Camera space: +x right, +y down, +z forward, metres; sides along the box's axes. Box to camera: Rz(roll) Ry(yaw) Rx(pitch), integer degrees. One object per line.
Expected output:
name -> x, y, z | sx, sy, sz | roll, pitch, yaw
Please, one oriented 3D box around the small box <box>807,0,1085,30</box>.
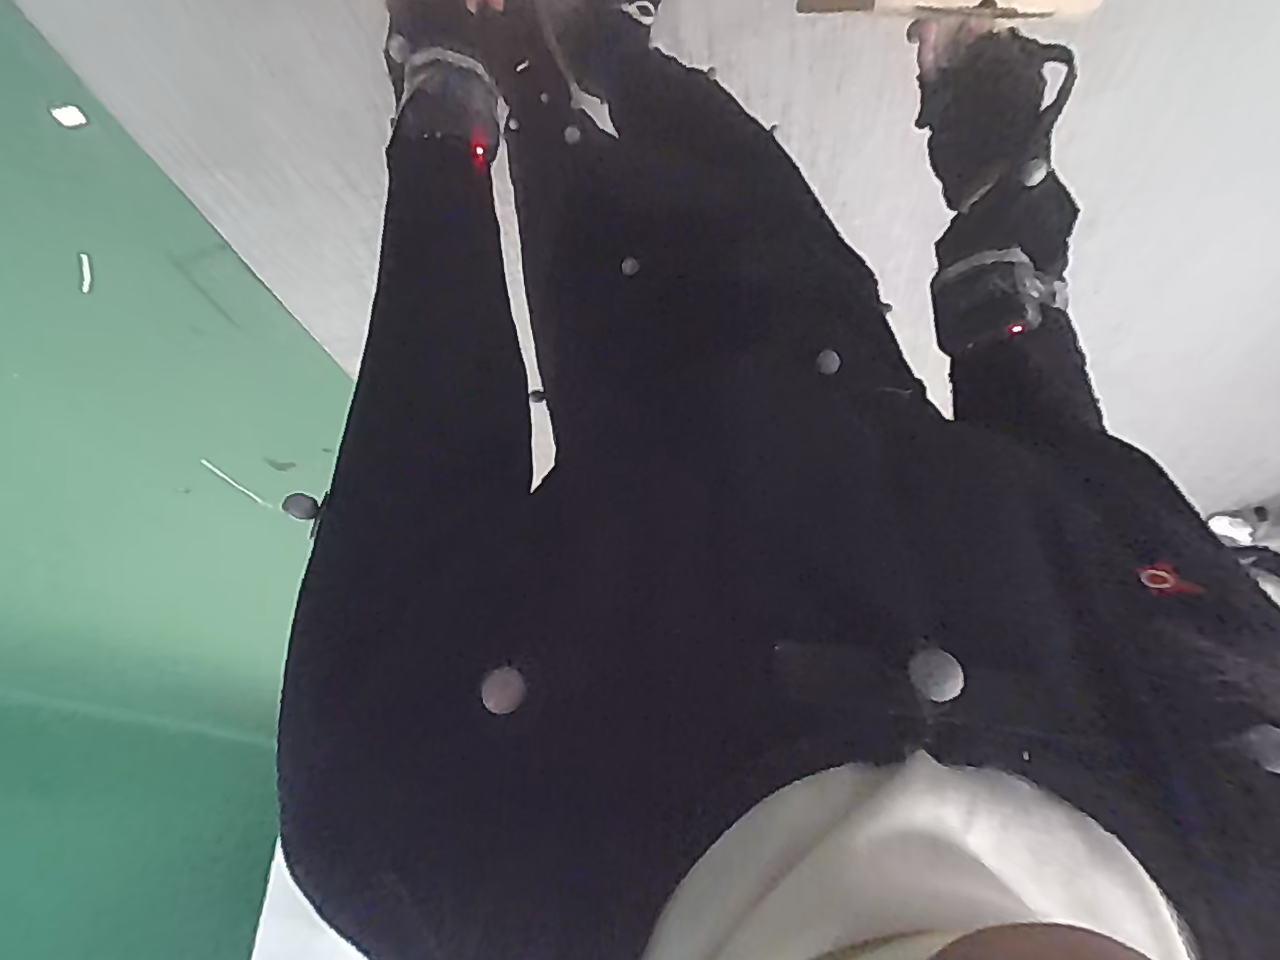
small box -> 0.229, -0.443, 0.388 | 0.168, 0.176, 0.179 | -3, 131, -7
